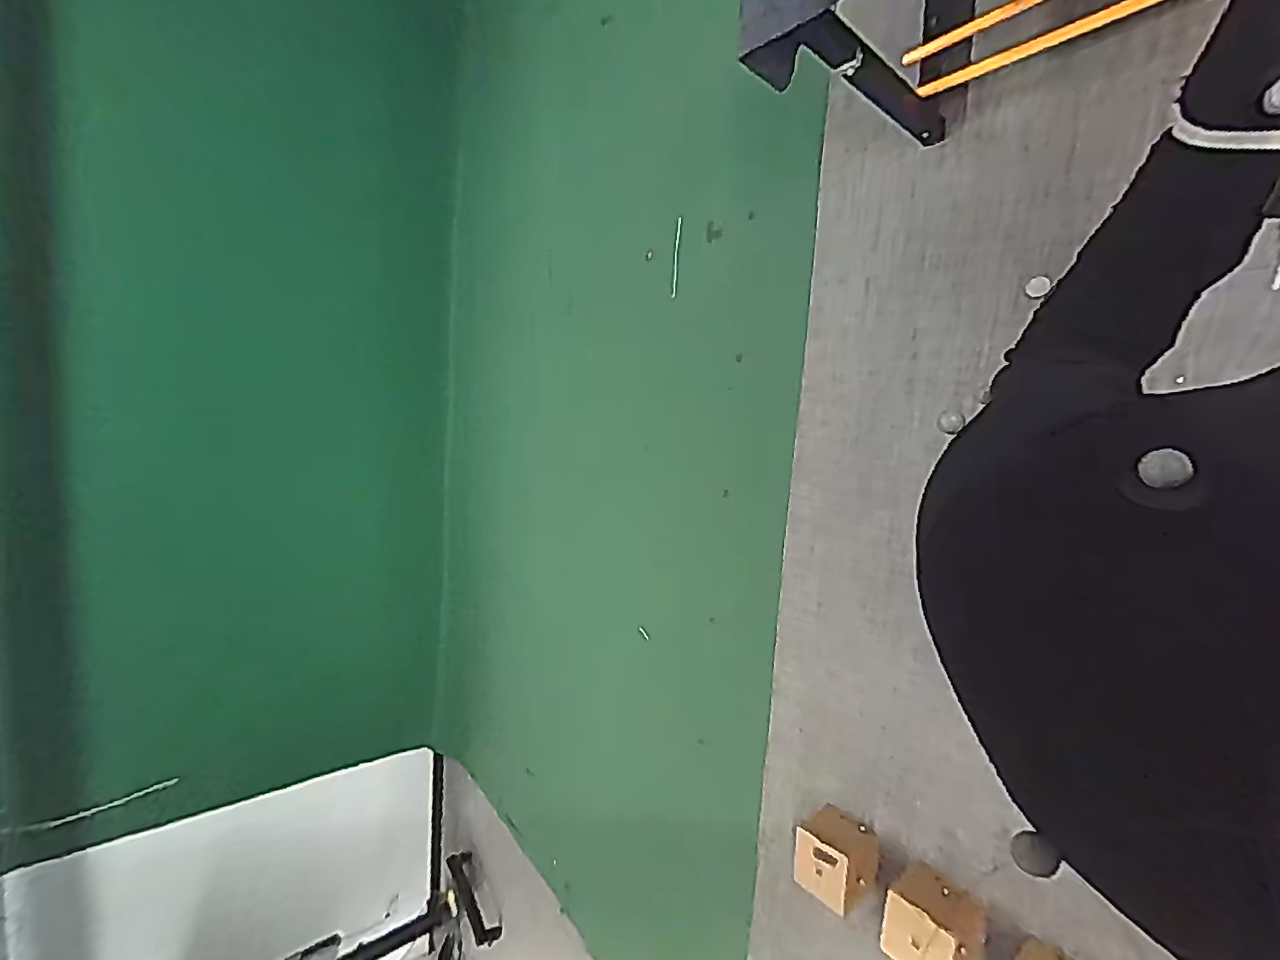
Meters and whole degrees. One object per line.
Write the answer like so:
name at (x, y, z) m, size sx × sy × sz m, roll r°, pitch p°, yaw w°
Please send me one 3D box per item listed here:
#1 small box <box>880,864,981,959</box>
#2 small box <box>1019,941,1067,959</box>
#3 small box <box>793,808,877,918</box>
small box at (0.742, 1.142, 1.378) m, size 0.168 × 0.176 × 0.179 m, roll 13°, pitch 100°, yaw 51°
small box at (0.906, 1.173, 1.168) m, size 0.168 × 0.176 × 0.179 m, roll 10°, pitch 97°, yaw 50°
small box at (0.574, 1.110, 1.586) m, size 0.168 × 0.176 × 0.179 m, roll 8°, pitch 96°, yaw 51°
